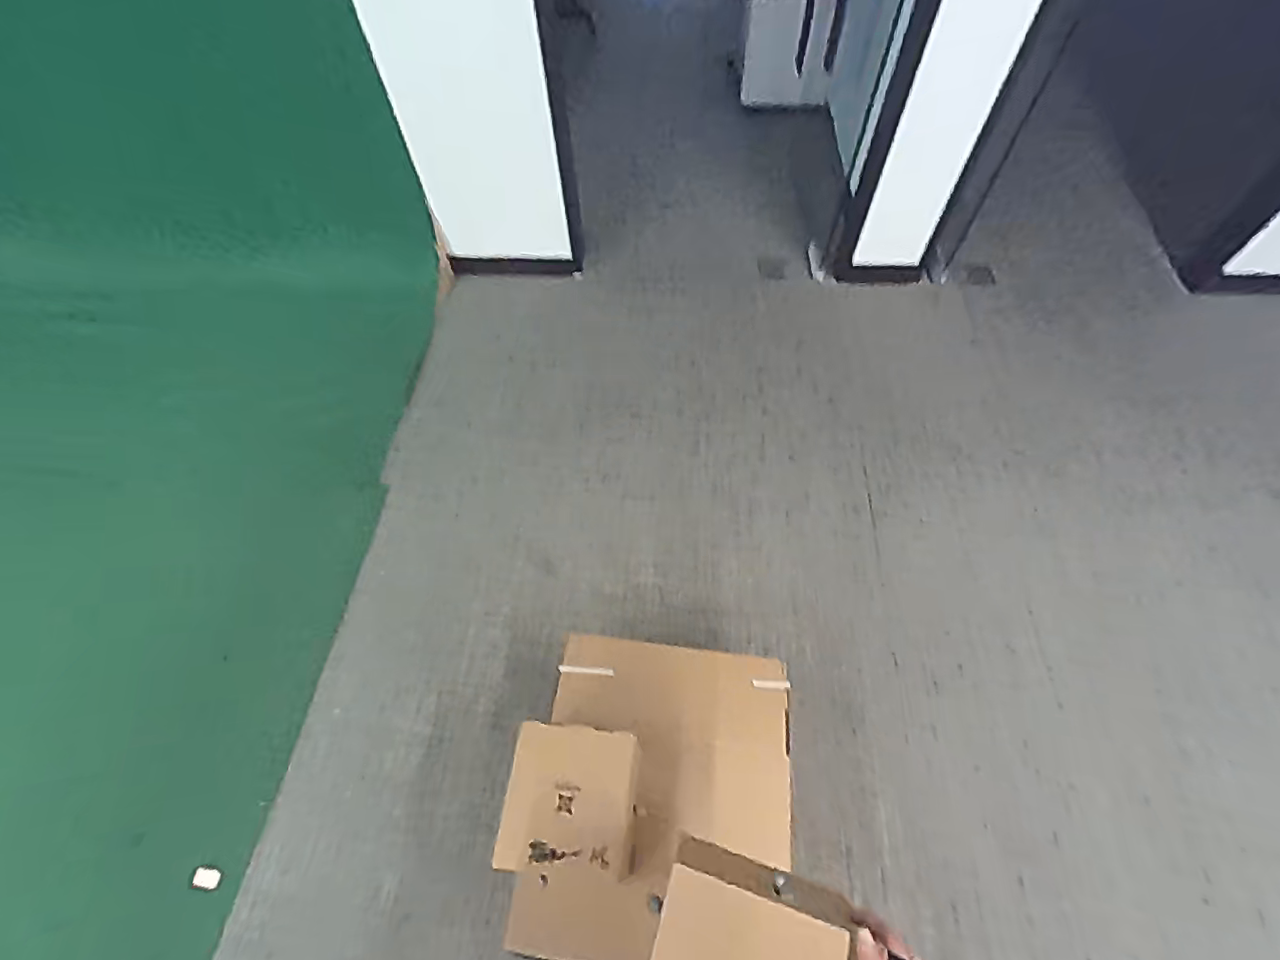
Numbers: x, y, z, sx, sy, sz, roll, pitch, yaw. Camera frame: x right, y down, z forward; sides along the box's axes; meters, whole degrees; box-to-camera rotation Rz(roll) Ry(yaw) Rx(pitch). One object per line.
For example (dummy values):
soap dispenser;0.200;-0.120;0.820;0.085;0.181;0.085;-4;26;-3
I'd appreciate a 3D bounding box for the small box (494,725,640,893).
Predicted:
small box;-0.091;0.471;0.778;0.168;0.176;0.179;4;56;5

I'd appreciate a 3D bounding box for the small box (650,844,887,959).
small box;0.095;0.446;0.469;0.179;0.176;0.168;14;67;13
